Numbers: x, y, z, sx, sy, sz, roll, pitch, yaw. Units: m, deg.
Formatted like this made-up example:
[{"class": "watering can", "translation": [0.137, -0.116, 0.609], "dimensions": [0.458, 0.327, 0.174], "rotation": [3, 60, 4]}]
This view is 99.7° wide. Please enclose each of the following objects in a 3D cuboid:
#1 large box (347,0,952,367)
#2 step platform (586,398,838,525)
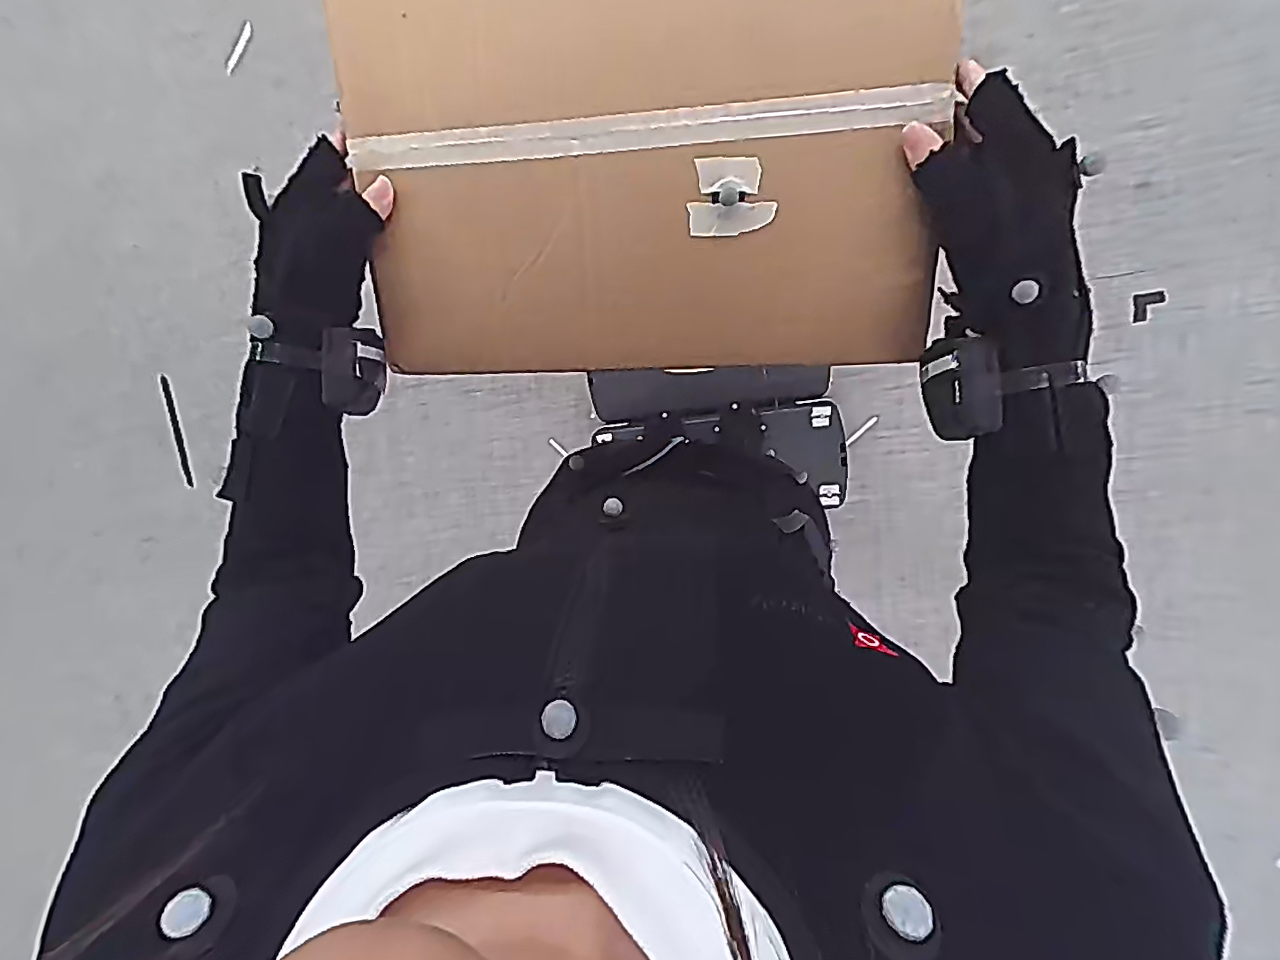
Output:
[{"class": "large box", "translation": [0.015, -0.286, 0.515], "dimensions": [0.408, 0.320, 0.320], "rotation": [0, 108, 7]}, {"class": "step platform", "translation": [0.193, -0.047, 1.515], "dimensions": [0.684, 0.204, 0.286], "rotation": [-6, 97, 12]}]
